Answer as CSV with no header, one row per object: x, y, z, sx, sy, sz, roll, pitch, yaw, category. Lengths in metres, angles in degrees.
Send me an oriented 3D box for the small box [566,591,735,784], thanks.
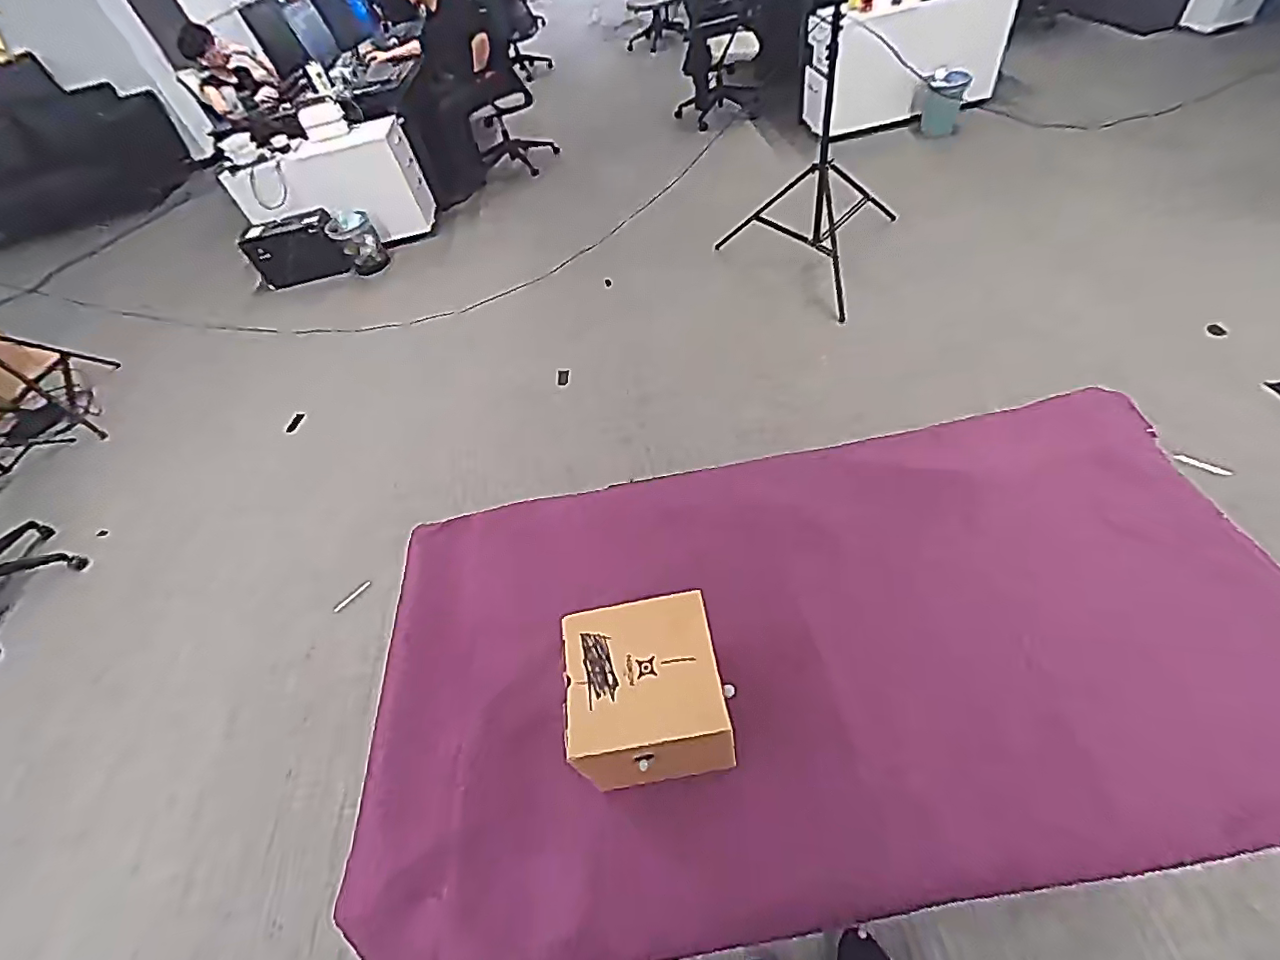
0.015,0.263,0.674,0.179,0.176,0.168,-11,50,2,small box
